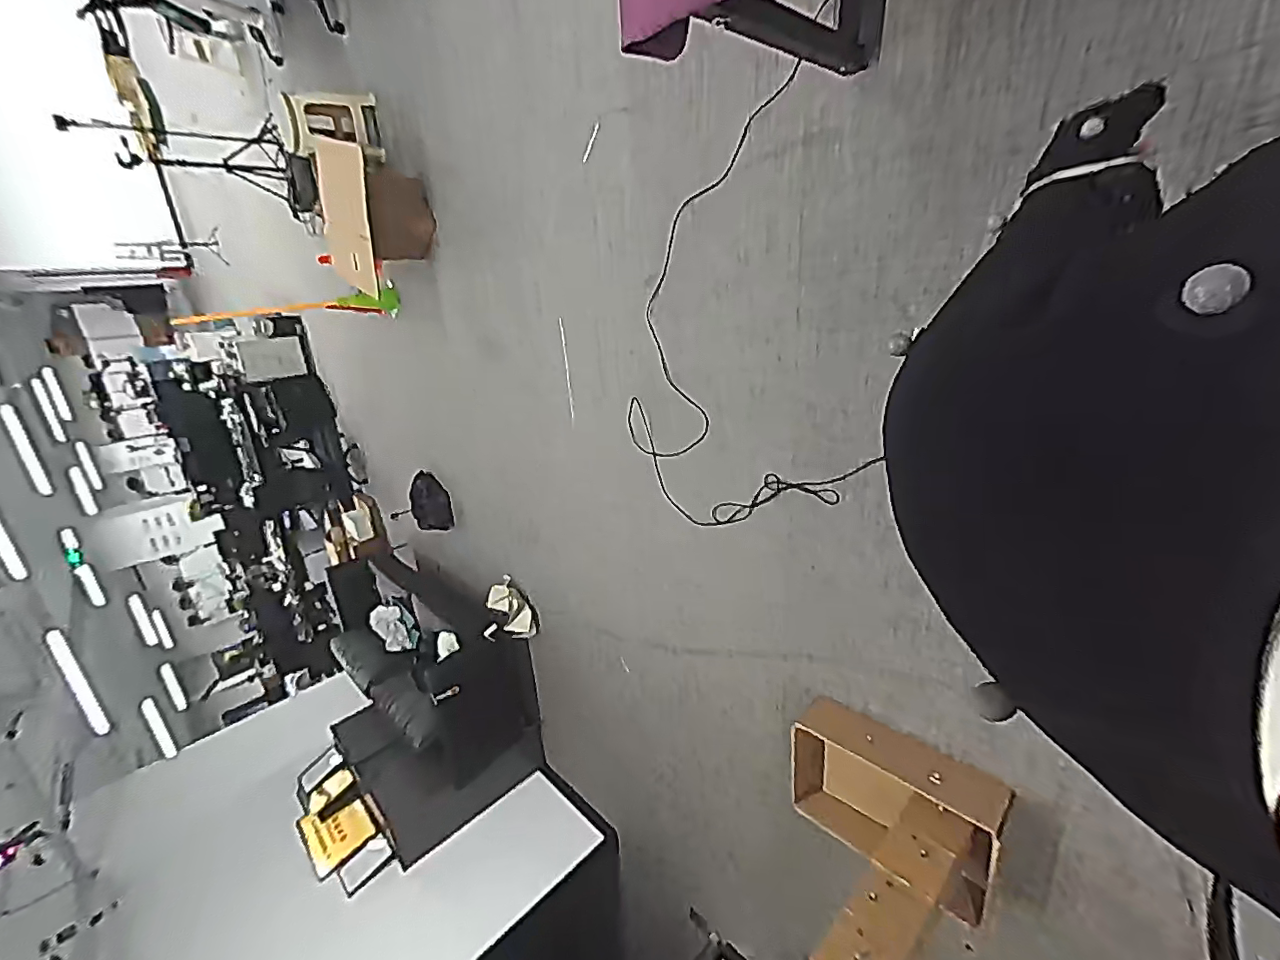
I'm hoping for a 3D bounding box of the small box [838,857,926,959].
[{"bbox_3d":[0.642,1.168,1.440,0.168,0.176,0.179,14,118,46],"label":"small box"}]

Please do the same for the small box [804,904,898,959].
[{"bbox_3d":[0.523,1.221,1.341,0.168,0.176,0.179,14,118,47],"label":"small box"}]

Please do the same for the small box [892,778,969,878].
[{"bbox_3d":[0.875,1.060,1.642,0.168,0.176,0.179,17,120,44],"label":"small box"}]

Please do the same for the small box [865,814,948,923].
[{"bbox_3d":[0.758,1.112,1.541,0.168,0.176,0.179,16,119,45],"label":"small box"}]
